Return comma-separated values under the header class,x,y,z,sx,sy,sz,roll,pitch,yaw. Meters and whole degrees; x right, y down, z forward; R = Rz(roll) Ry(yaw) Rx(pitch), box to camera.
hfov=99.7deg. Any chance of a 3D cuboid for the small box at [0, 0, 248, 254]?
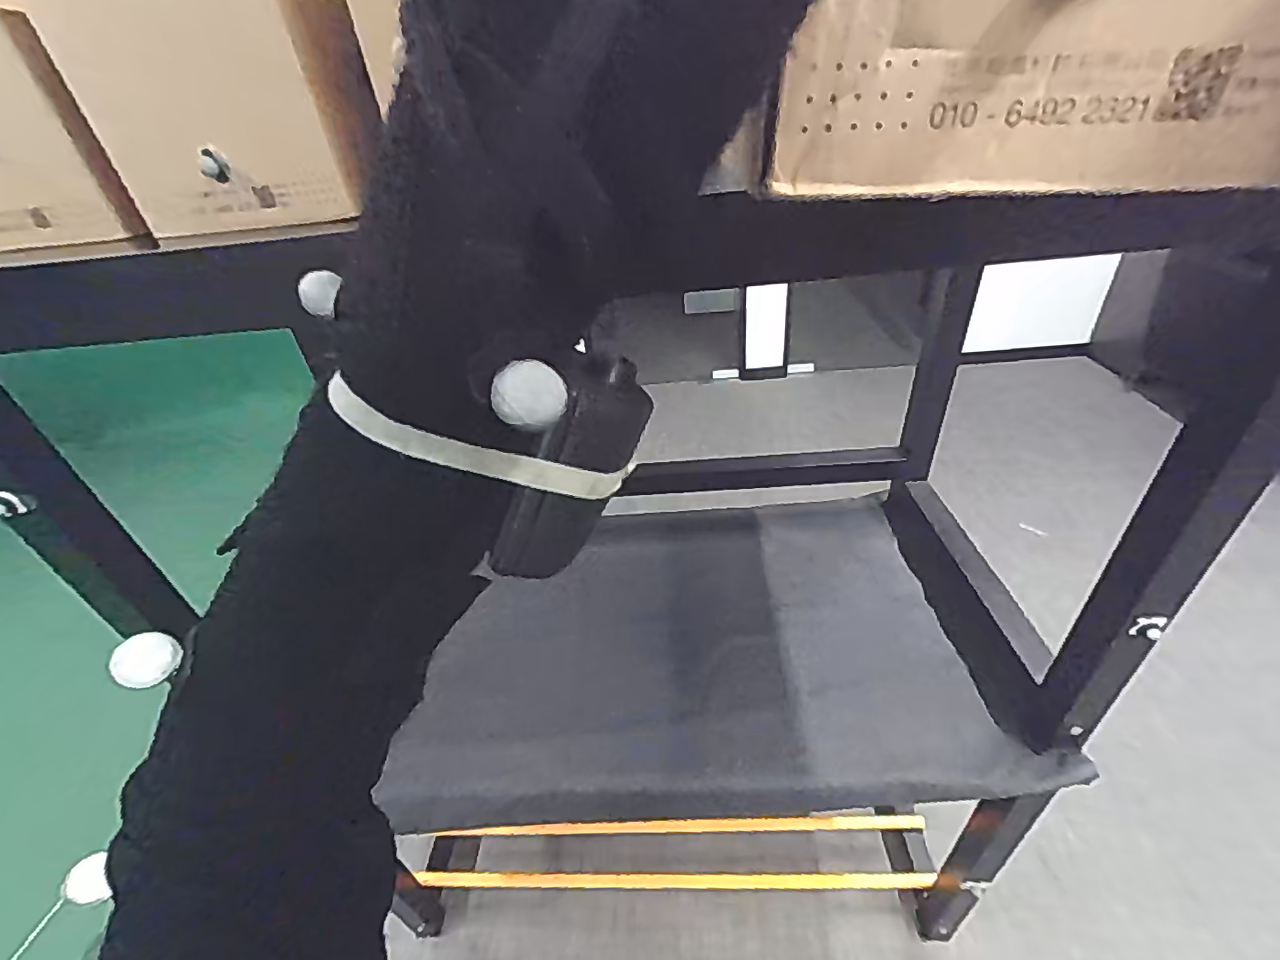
class,x,y,z,sx,sy,sz,roll,pitch,yaw
small box,-0.488,-0.295,0.458,0.168,0.176,0.179,-3,35,4
